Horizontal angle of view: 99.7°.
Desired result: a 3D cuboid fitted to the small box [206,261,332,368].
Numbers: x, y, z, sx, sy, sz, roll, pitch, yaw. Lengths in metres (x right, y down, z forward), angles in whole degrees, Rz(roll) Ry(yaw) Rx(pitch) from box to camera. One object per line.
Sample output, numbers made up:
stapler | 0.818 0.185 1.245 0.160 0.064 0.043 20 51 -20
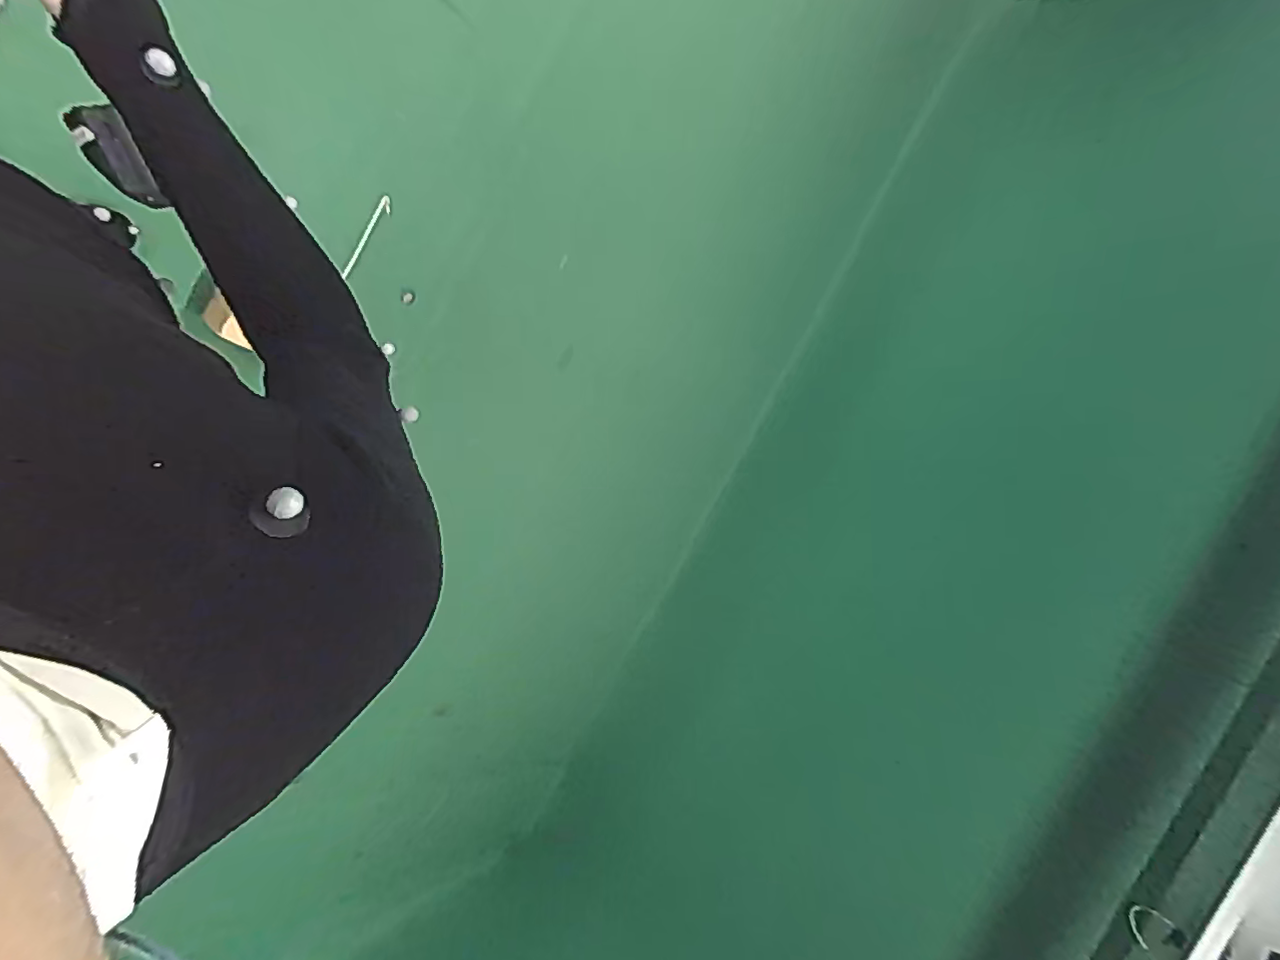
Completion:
small box | -0.893 -0.401 1.300 0.179 0.176 0.168 30 90 -54
